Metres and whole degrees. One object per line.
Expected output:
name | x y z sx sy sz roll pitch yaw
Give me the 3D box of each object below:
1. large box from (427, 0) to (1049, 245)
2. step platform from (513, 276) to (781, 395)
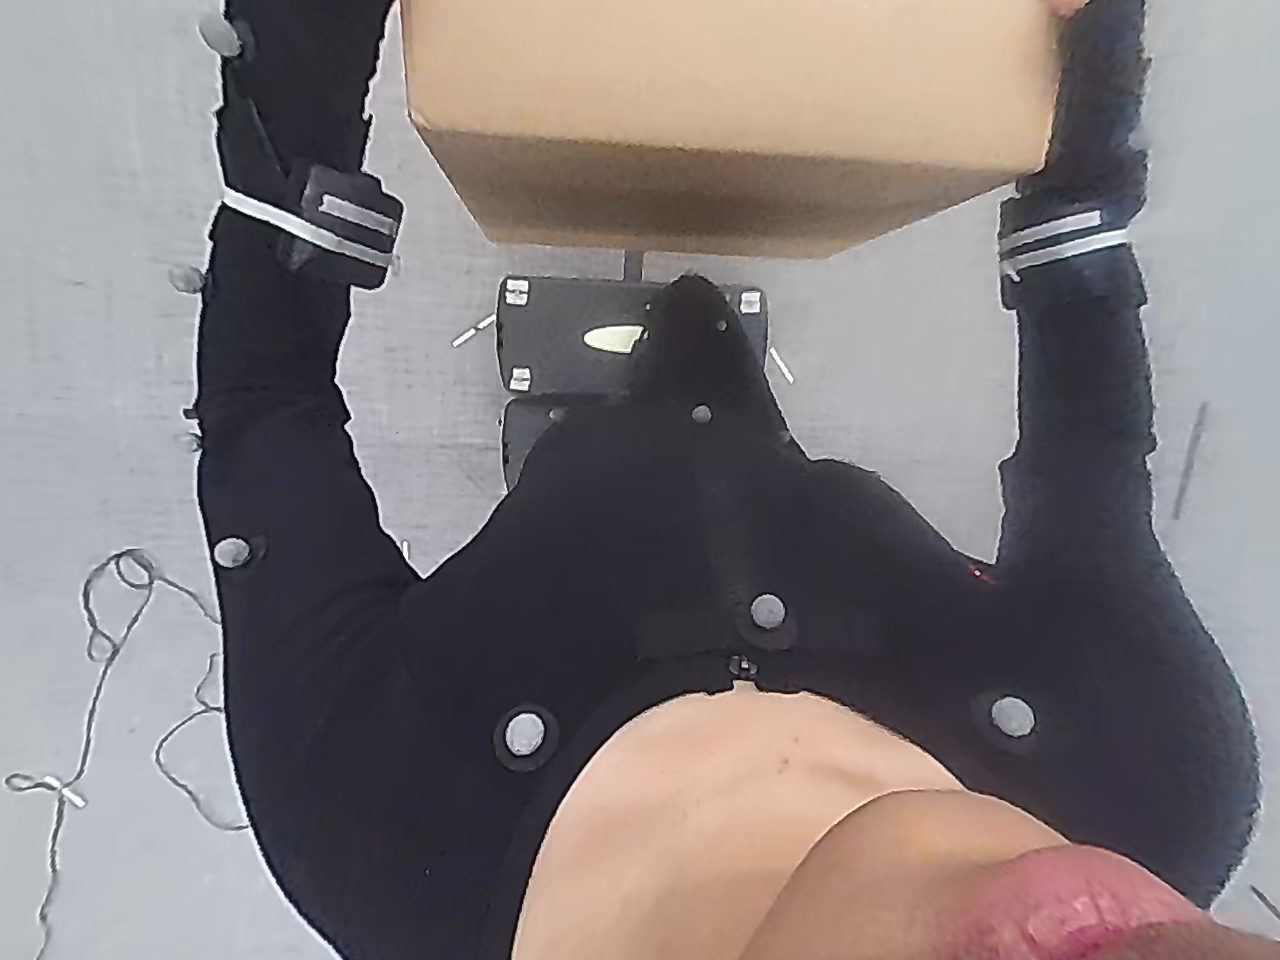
large box | 0.050 -0.399 0.461 0.408 0.320 0.320 -1 103 -8
step platform | 0.018 -0.372 1.413 0.684 0.204 0.286 -1 103 -6
